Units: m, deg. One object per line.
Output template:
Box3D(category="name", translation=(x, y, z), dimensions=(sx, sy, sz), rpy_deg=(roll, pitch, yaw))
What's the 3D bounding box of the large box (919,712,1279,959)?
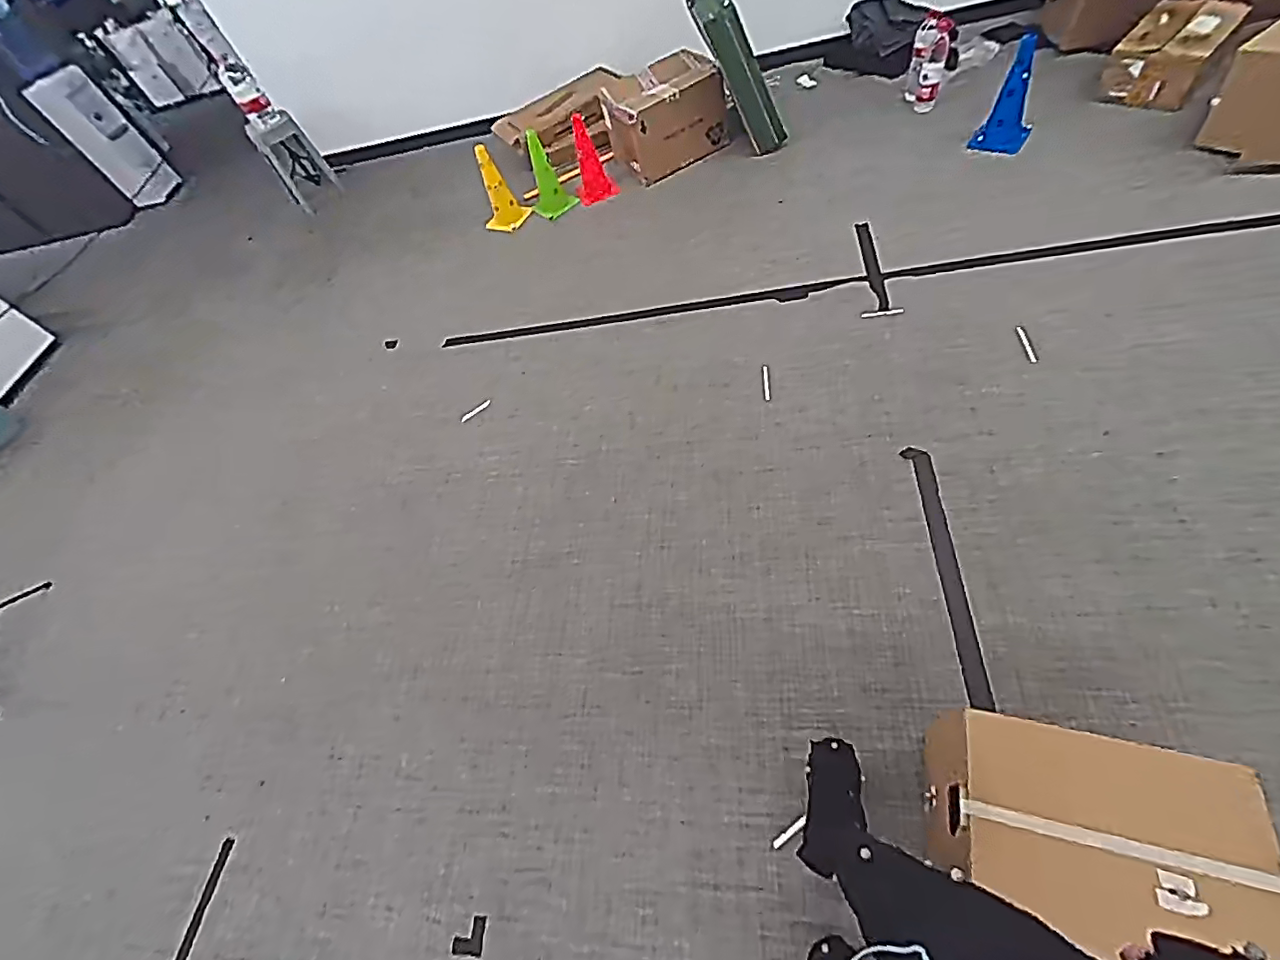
Box3D(category="large box", translation=(0.740, 0.634, 0.941), dimensions=(0.408, 0.320, 0.320), rpy_deg=(7, 60, 17))
